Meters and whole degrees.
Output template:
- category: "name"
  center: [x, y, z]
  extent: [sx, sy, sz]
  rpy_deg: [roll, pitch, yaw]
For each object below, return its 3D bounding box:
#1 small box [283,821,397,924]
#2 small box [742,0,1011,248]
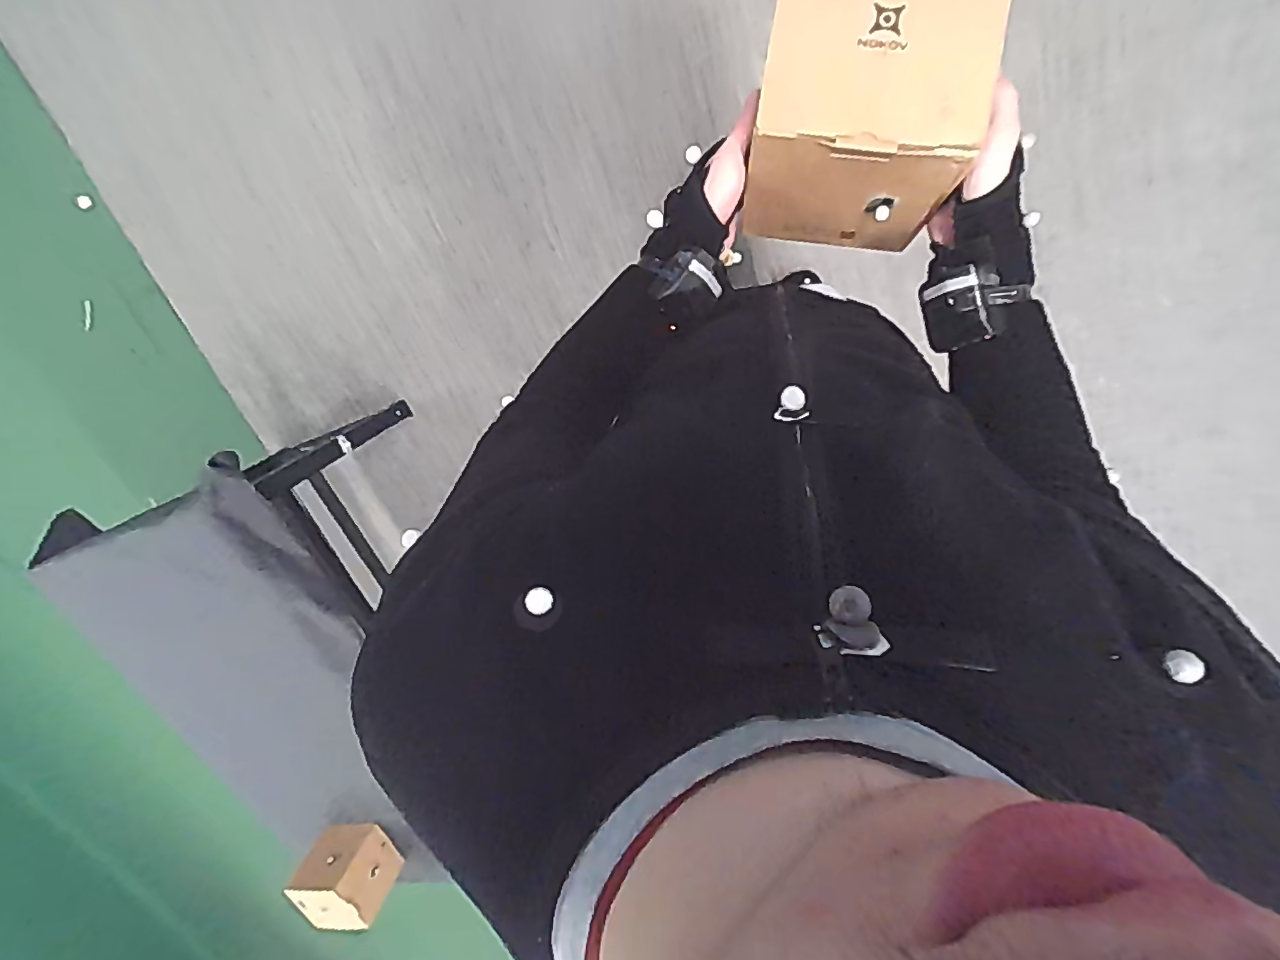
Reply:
- category: "small box"
  center: [-0.778, 1.032, 1.430]
  extent: [0.179, 0.176, 0.168]
  rpy_deg: [-14, 111, 17]
- category: "small box"
  center: [0.188, -0.329, 0.473]
  extent: [0.168, 0.176, 0.179]
  rpy_deg: [10, 89, 5]
